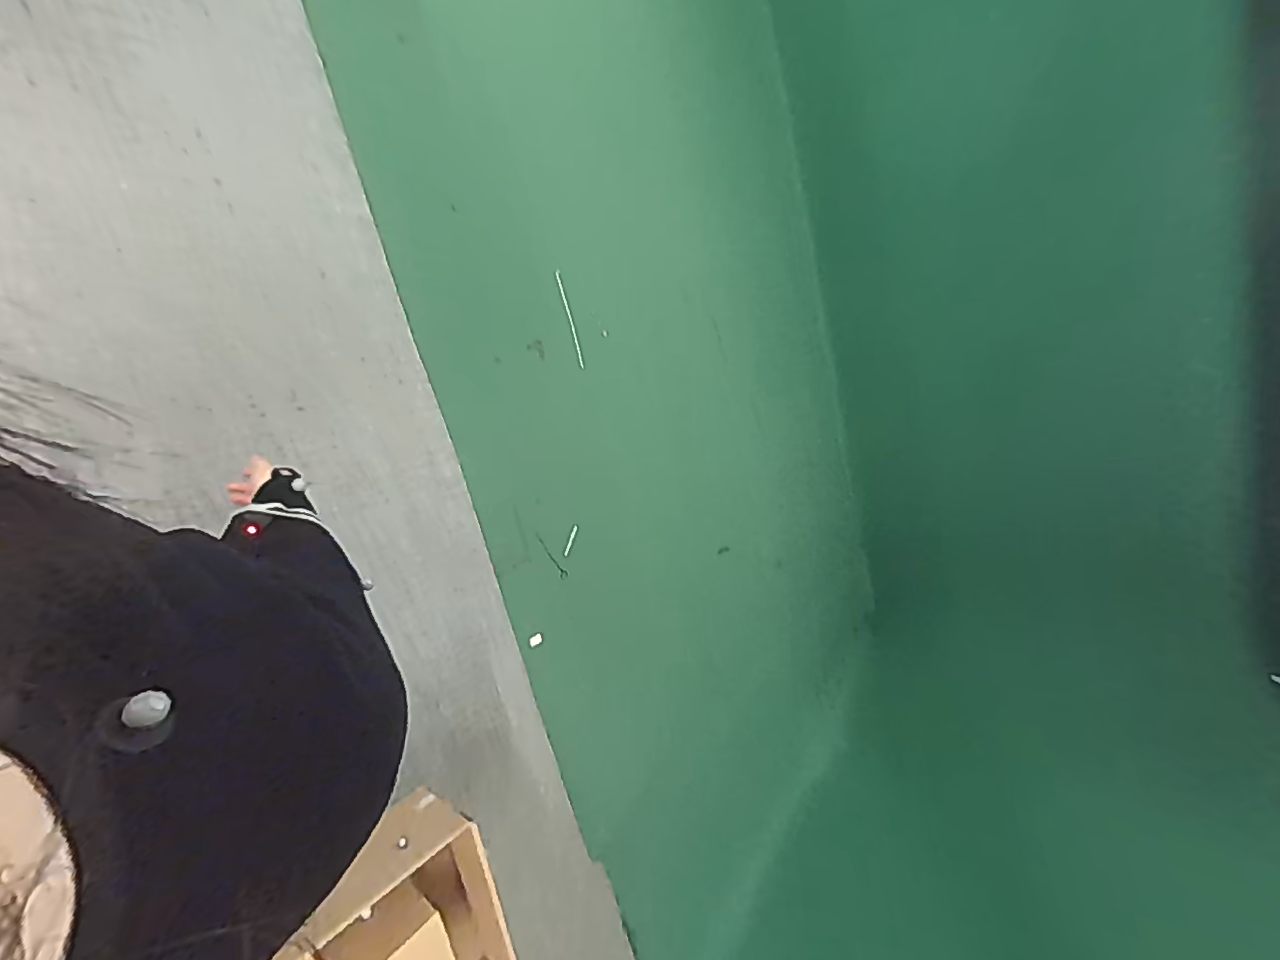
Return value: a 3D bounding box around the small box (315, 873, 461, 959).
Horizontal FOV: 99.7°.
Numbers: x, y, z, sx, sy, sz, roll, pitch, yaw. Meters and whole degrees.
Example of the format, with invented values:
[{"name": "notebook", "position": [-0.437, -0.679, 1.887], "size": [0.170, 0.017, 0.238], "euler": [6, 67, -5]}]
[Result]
[{"name": "small box", "position": [-0.428, 0.840, 0.935], "size": [0.168, 0.176, 0.179], "euler": [-23, 103, -46]}]
